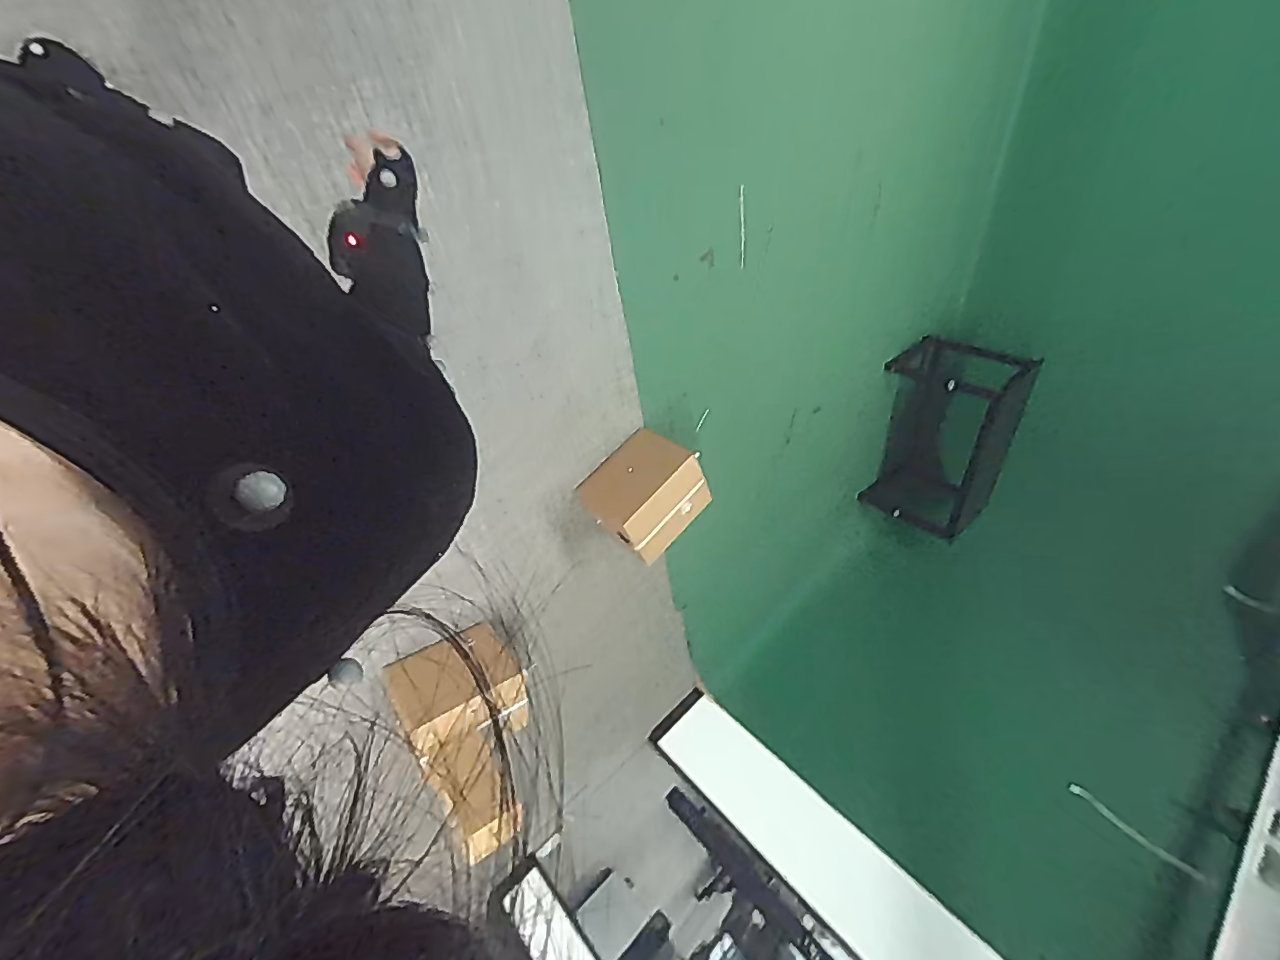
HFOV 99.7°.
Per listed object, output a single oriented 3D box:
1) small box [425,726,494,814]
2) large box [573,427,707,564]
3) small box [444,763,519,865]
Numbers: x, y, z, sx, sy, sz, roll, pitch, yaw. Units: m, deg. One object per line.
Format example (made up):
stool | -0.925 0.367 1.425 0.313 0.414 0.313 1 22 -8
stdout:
small box | -0.599 0.961 1.792 0.168 0.176 0.179 -18 128 -39
large box | 0.003 0.057 2.219 0.408 0.320 0.320 -46 140 -16
small box | -0.498 1.033 1.686 0.179 0.176 0.168 -17 128 -40
